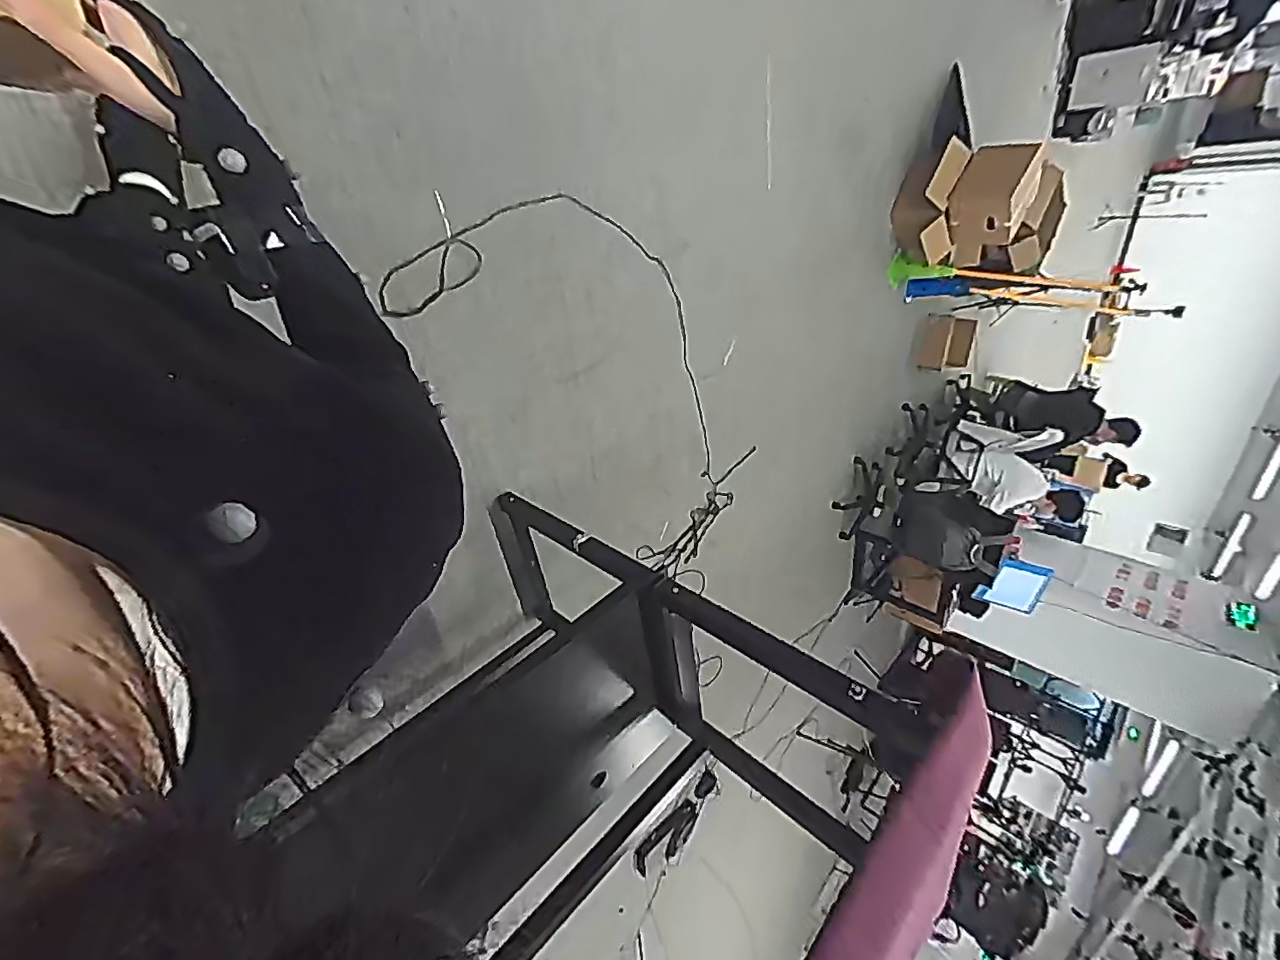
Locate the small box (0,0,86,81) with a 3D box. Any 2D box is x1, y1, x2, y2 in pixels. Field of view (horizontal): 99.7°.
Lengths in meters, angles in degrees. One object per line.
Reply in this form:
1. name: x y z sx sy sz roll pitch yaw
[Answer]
1. small box: -0.448 -0.352 0.296 0.168 0.176 0.179 -22 118 -43
